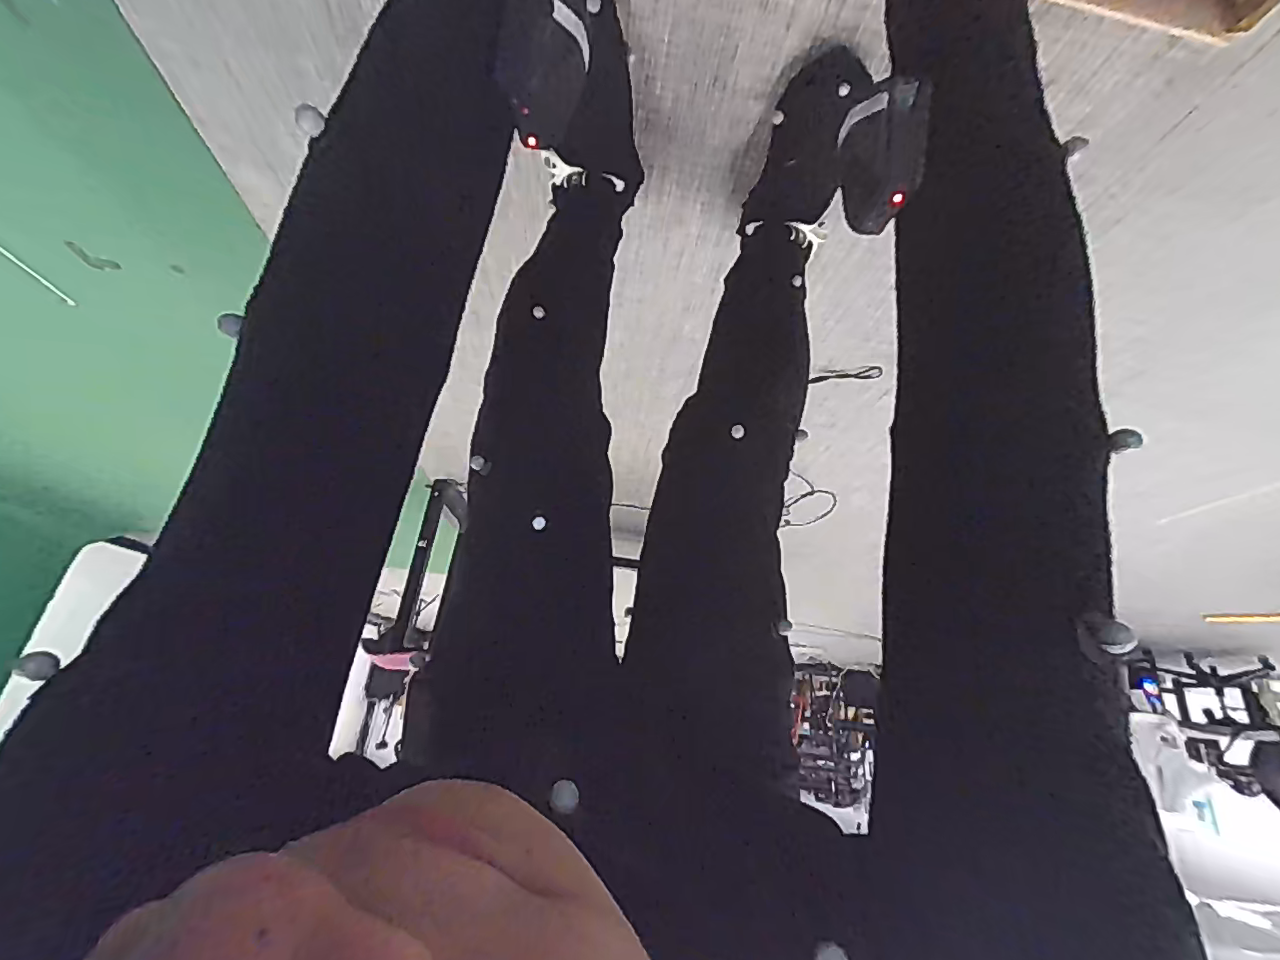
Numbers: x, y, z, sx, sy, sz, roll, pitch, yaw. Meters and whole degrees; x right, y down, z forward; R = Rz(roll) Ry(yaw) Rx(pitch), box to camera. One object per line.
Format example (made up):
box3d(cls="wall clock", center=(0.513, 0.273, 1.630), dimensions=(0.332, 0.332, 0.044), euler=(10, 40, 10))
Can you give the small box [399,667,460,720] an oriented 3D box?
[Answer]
box3d(cls="small box", center=(-0.782, 0.795, 2.021), dimensions=(0.168, 0.176, 0.179), euler=(9, 160, -8))
